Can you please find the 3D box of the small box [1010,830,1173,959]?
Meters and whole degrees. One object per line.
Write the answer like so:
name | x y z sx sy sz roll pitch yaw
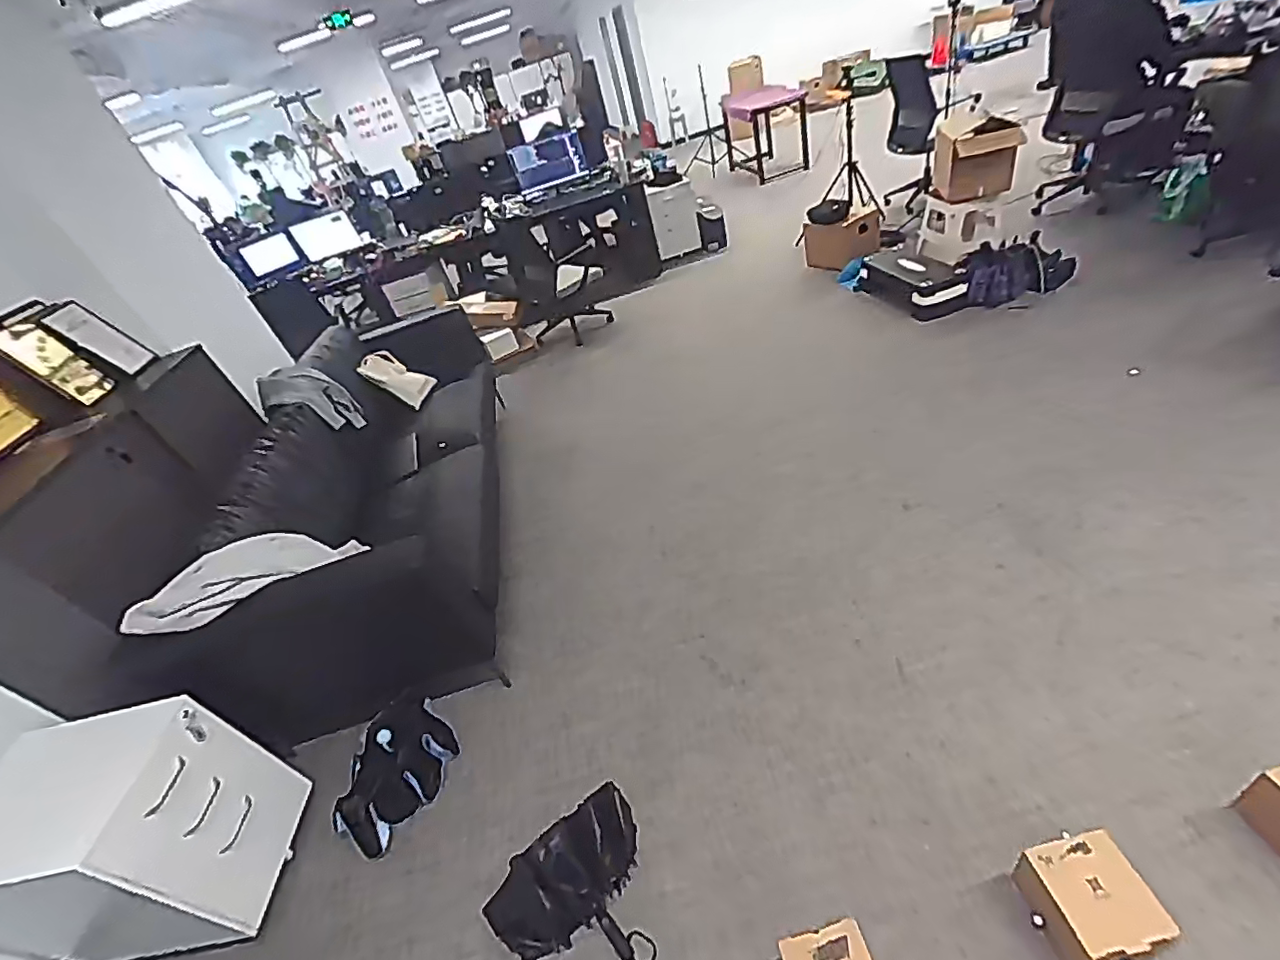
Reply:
small box | 0.880 0.839 1.076 0.168 0.176 0.179 -17 38 3

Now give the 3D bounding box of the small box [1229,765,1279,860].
small box | 1.354 0.676 1.067 0.168 0.176 0.179 -17 36 2

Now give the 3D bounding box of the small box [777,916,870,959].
small box | 0.388 1.015 1.074 0.168 0.176 0.179 -19 38 1
